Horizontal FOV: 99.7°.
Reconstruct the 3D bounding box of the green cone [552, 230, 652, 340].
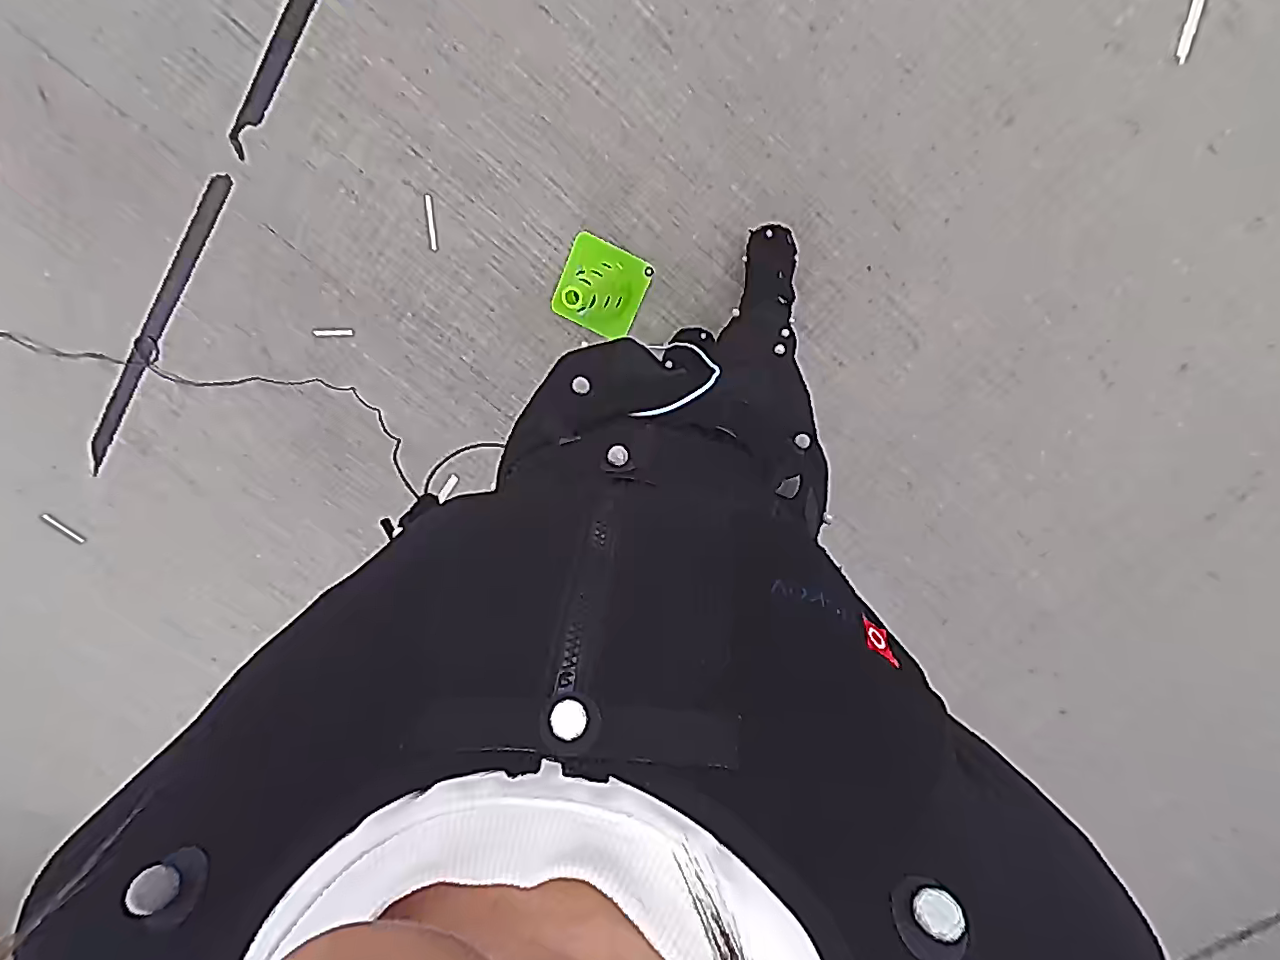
[{"bbox_3d":[-0.113,-0.396,1.133,0.200,0.368,0.202,25,113,-4],"label":"green cone"}]
